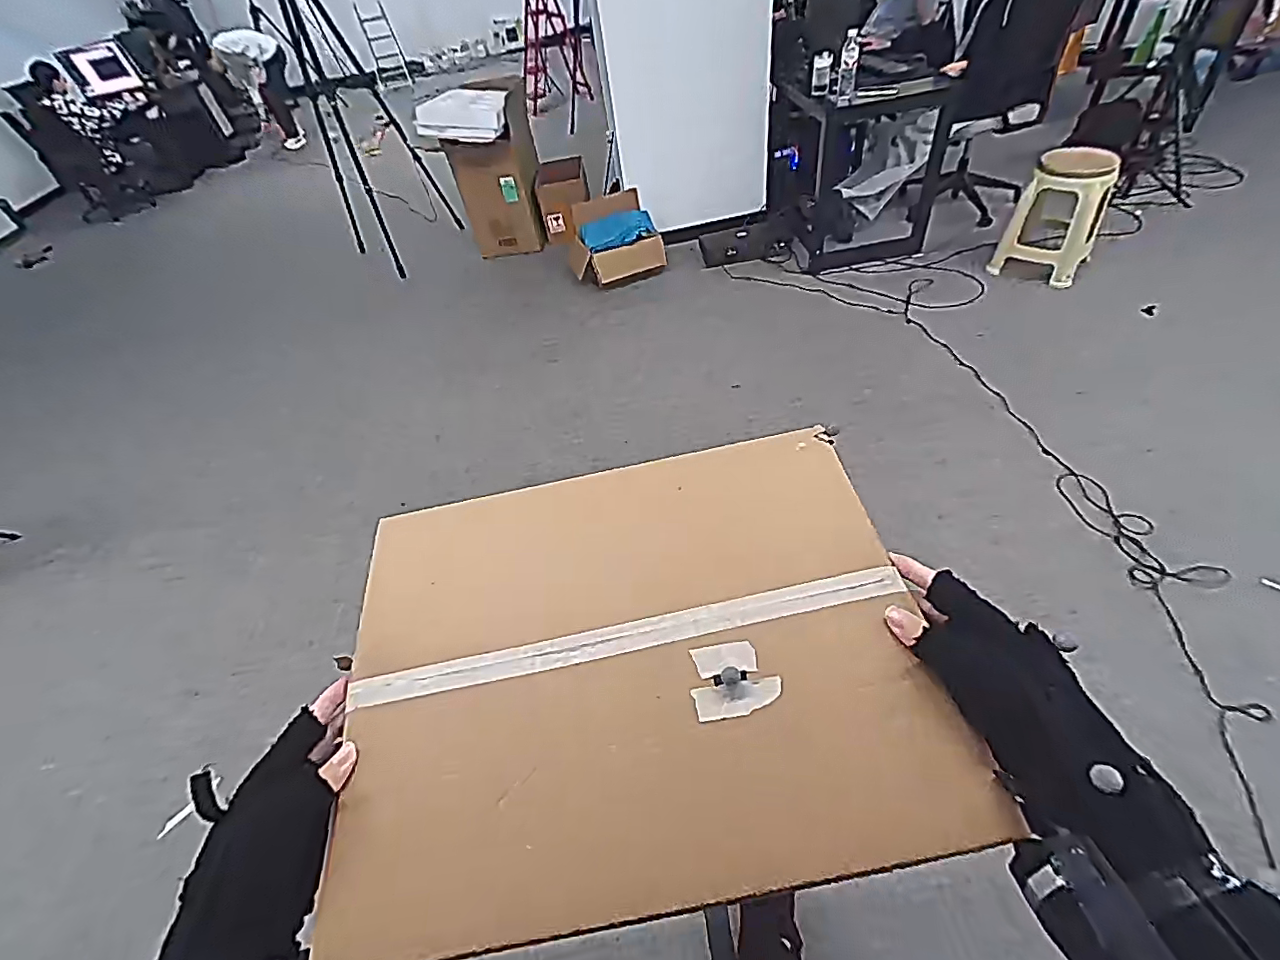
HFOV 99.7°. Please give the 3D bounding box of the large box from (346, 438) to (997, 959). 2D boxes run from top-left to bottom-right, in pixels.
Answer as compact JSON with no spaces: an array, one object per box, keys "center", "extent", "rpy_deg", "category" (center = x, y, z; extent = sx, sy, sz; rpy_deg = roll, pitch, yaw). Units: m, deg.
[{"center":[0.012,0.209,0.524],"extent":[0.408,0.320,0.320],"rpy_deg":[-12,53,-1],"category":"large box"}]
